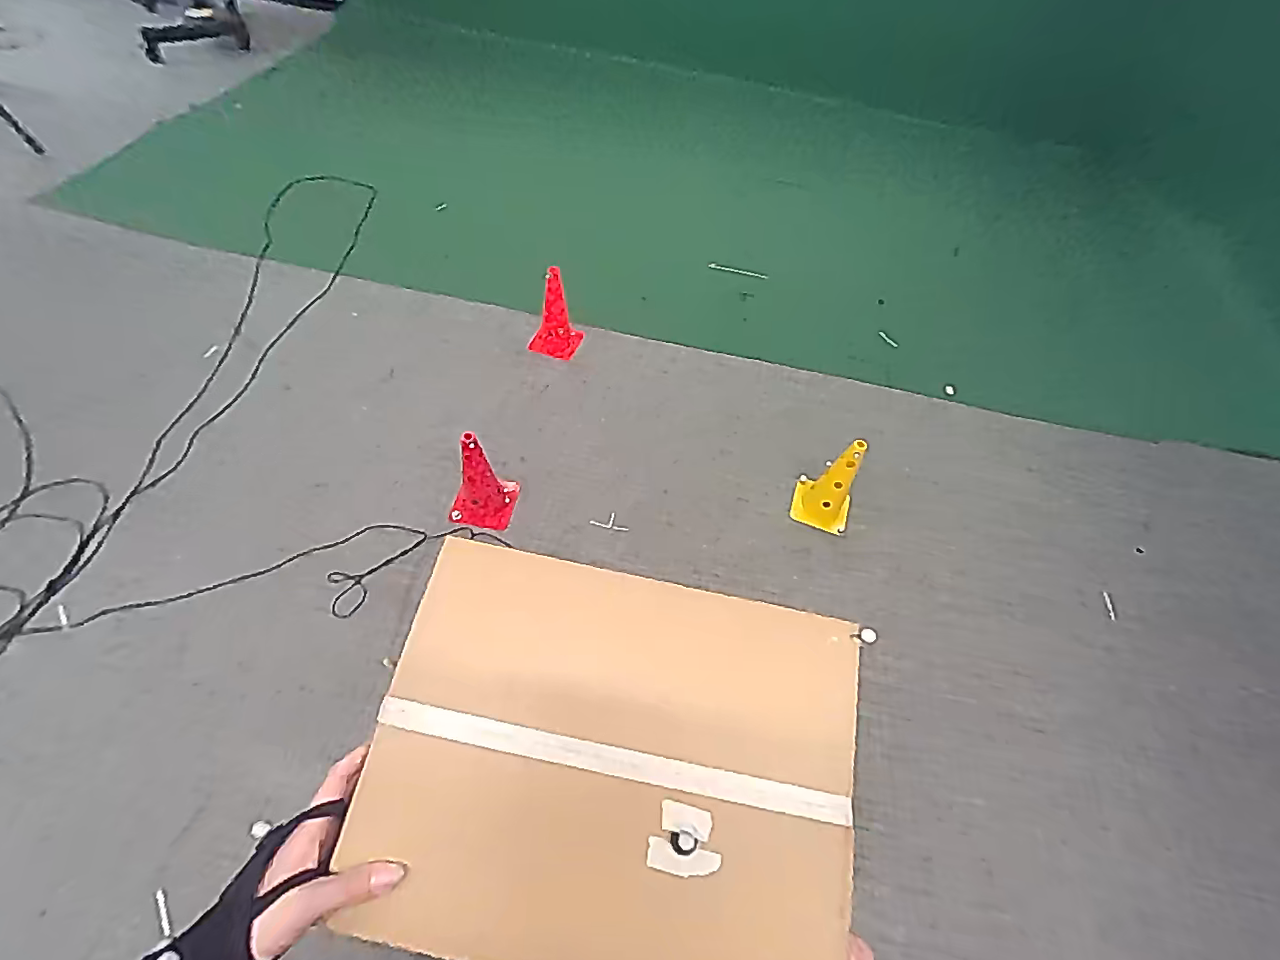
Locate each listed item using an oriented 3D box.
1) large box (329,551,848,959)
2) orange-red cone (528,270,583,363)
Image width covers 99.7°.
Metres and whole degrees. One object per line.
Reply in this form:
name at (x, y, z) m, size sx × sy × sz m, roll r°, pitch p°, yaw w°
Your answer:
large box at (-0.030, 0.298, 0.604) m, size 0.408 × 0.320 × 0.320 m, roll 11°, pitch 68°, yaw 1°
orange-red cone at (-0.354, -0.694, 2.224) m, size 0.199 × 0.360 × 0.198 m, roll 18°, pitch 54°, yaw 8°
